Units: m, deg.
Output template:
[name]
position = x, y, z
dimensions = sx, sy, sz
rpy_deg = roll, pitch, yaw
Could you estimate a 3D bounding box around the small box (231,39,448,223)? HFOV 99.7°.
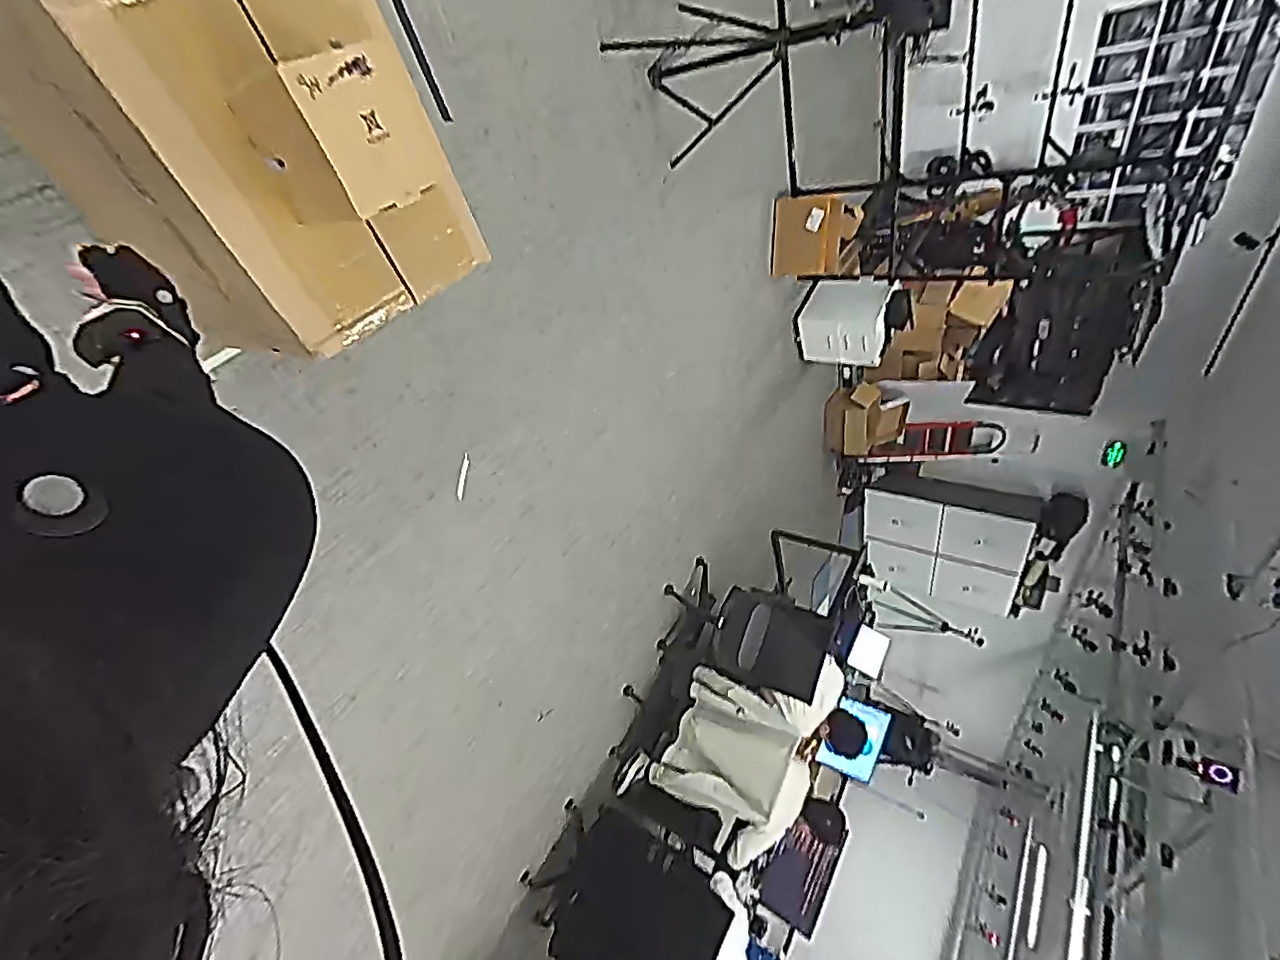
[small box]
position = -0.414, -0.480, 0.759
dimensions = 0.168, 0.176, 0.179
rpy_deg = -49, 139, -32
